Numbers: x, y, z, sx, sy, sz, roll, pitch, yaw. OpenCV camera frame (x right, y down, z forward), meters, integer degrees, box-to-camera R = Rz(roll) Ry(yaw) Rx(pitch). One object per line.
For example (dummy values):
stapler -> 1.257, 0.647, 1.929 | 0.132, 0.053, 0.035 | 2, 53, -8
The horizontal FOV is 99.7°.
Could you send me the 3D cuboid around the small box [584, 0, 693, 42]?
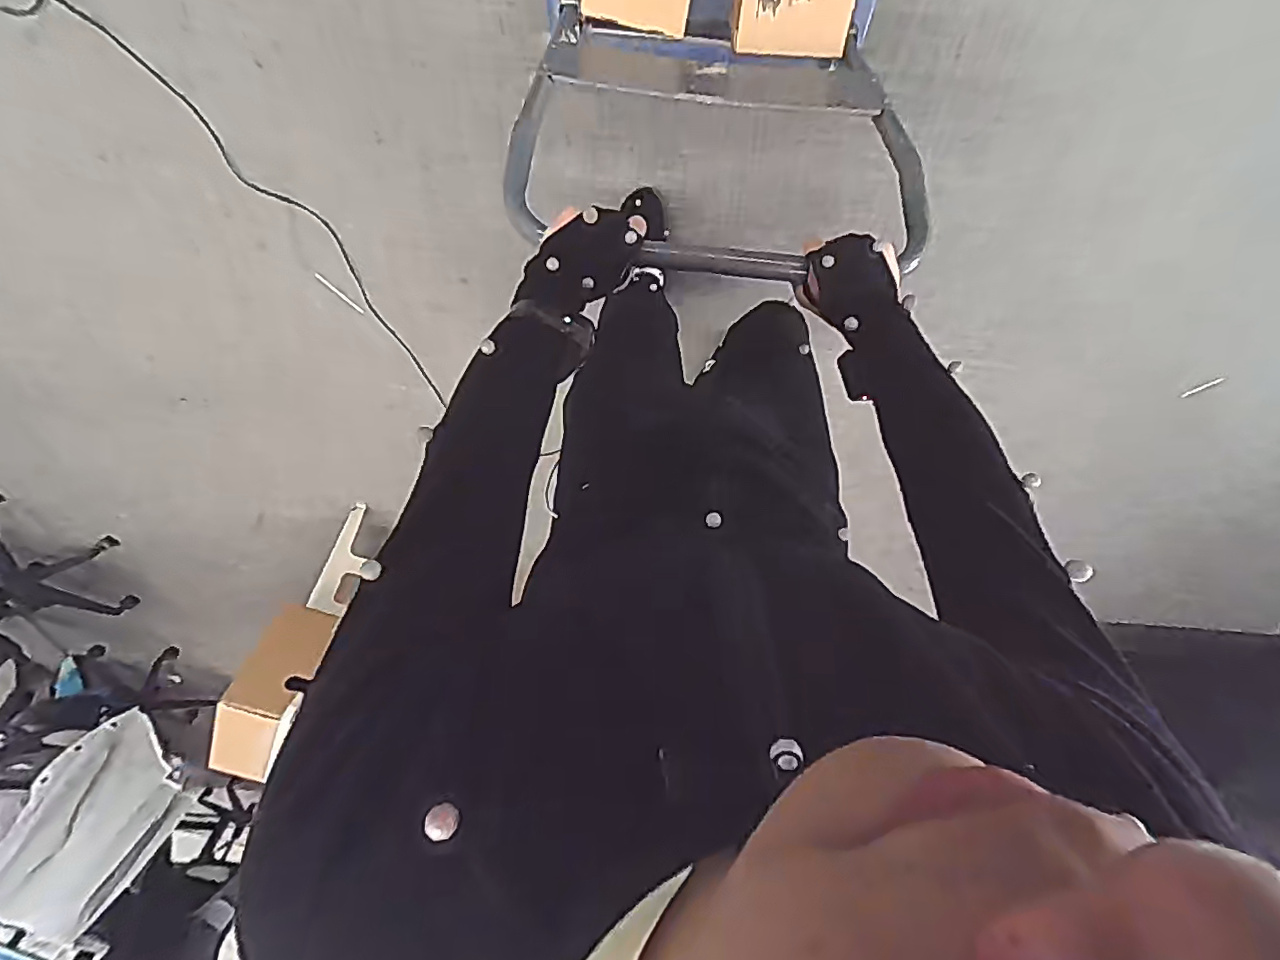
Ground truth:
small box -> 0.010, -0.827, 0.838 | 0.168, 0.176, 0.179 | 9, 141, -7
